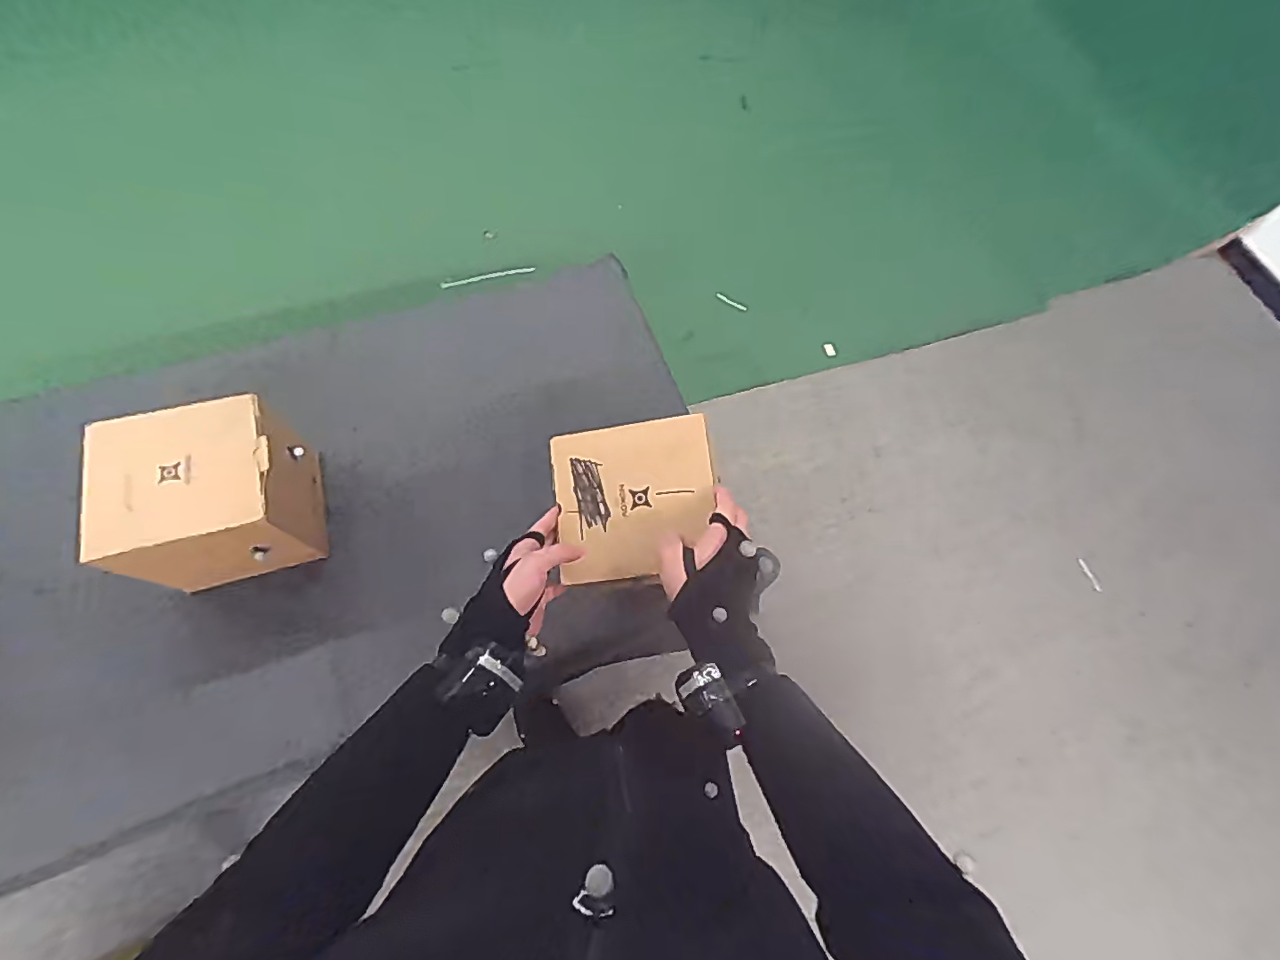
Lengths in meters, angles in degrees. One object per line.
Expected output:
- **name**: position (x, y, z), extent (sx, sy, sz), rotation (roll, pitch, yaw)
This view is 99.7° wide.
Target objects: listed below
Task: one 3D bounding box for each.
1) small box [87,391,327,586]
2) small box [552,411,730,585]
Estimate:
- **small box**: position (-0.510, 0.018, 0.666), extent (0.179, 0.176, 0.168), rotation (-15, 69, -10)
- **small box**: position (0.008, 0.033, 0.644), extent (0.179, 0.176, 0.168), rotation (-8, 76, 9)
